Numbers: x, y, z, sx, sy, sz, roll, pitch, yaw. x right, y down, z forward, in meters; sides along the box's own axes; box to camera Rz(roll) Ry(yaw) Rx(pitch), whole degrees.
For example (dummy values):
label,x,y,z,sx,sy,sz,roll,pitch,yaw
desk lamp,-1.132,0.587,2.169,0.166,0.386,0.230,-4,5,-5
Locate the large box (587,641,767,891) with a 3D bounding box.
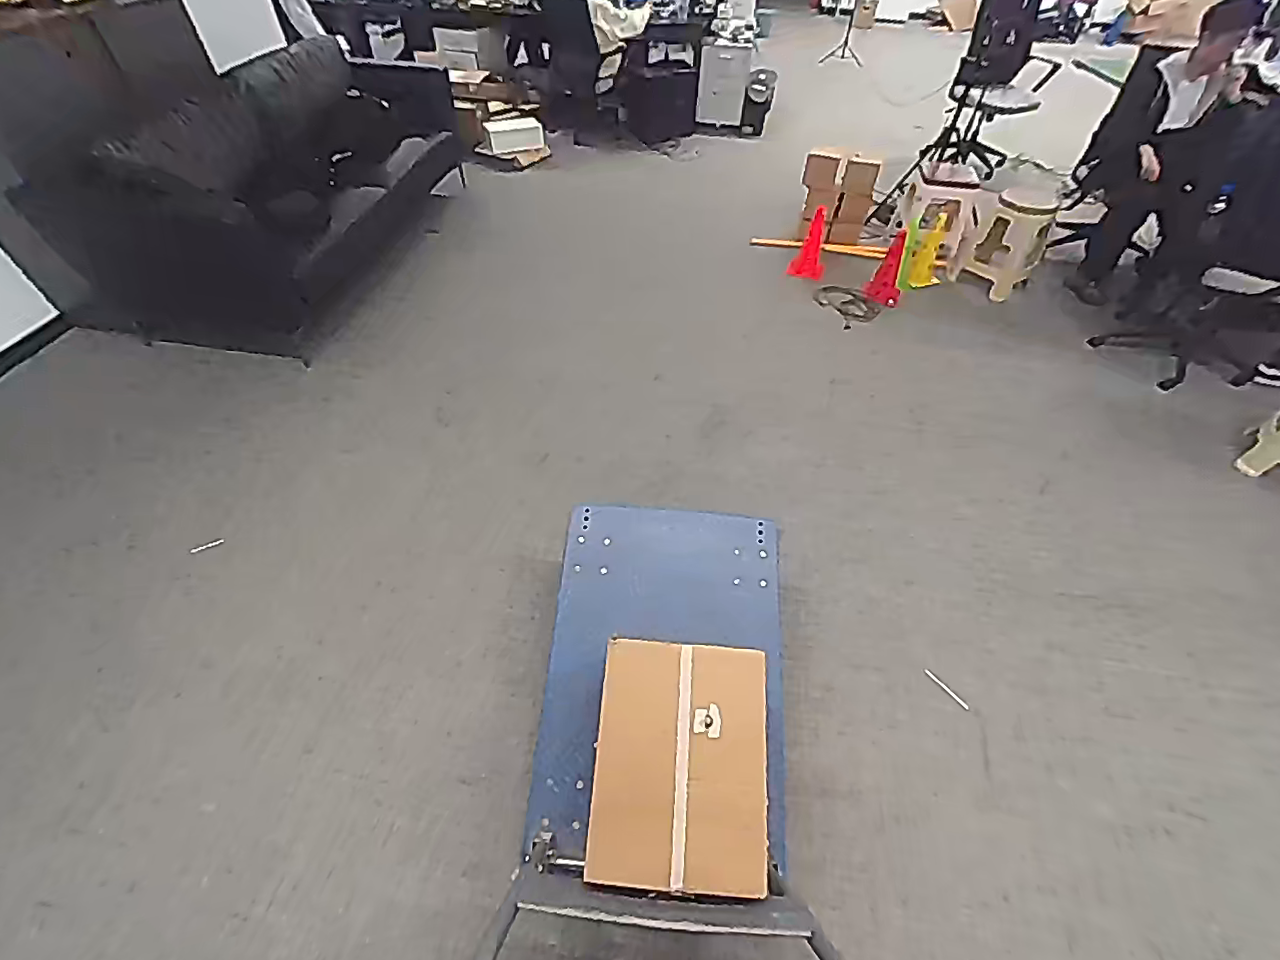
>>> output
label,x,y,z,sx,sy,sz,roll,pitch,yaw
large box,0.071,0.574,1.132,0.320,0.320,0.408,4,65,0
